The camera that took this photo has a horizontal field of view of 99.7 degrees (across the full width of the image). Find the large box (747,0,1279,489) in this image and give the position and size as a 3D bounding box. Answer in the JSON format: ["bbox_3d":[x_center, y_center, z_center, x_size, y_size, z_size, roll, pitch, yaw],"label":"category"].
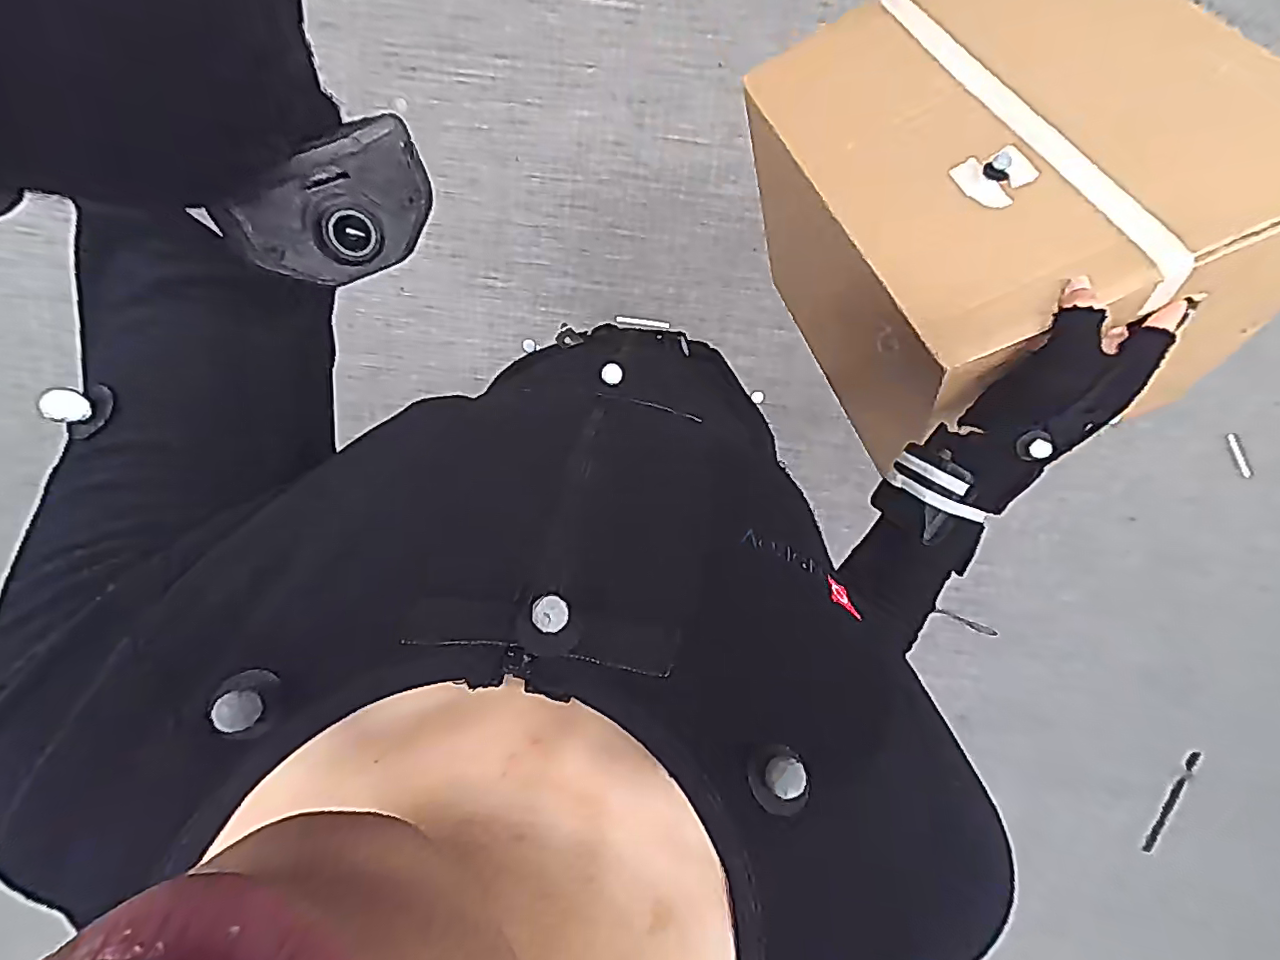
[{"bbox_3d":[0.351,-0.263,0.591,0.320,0.320,0.408,-24,64,10],"label":"large box"}]
